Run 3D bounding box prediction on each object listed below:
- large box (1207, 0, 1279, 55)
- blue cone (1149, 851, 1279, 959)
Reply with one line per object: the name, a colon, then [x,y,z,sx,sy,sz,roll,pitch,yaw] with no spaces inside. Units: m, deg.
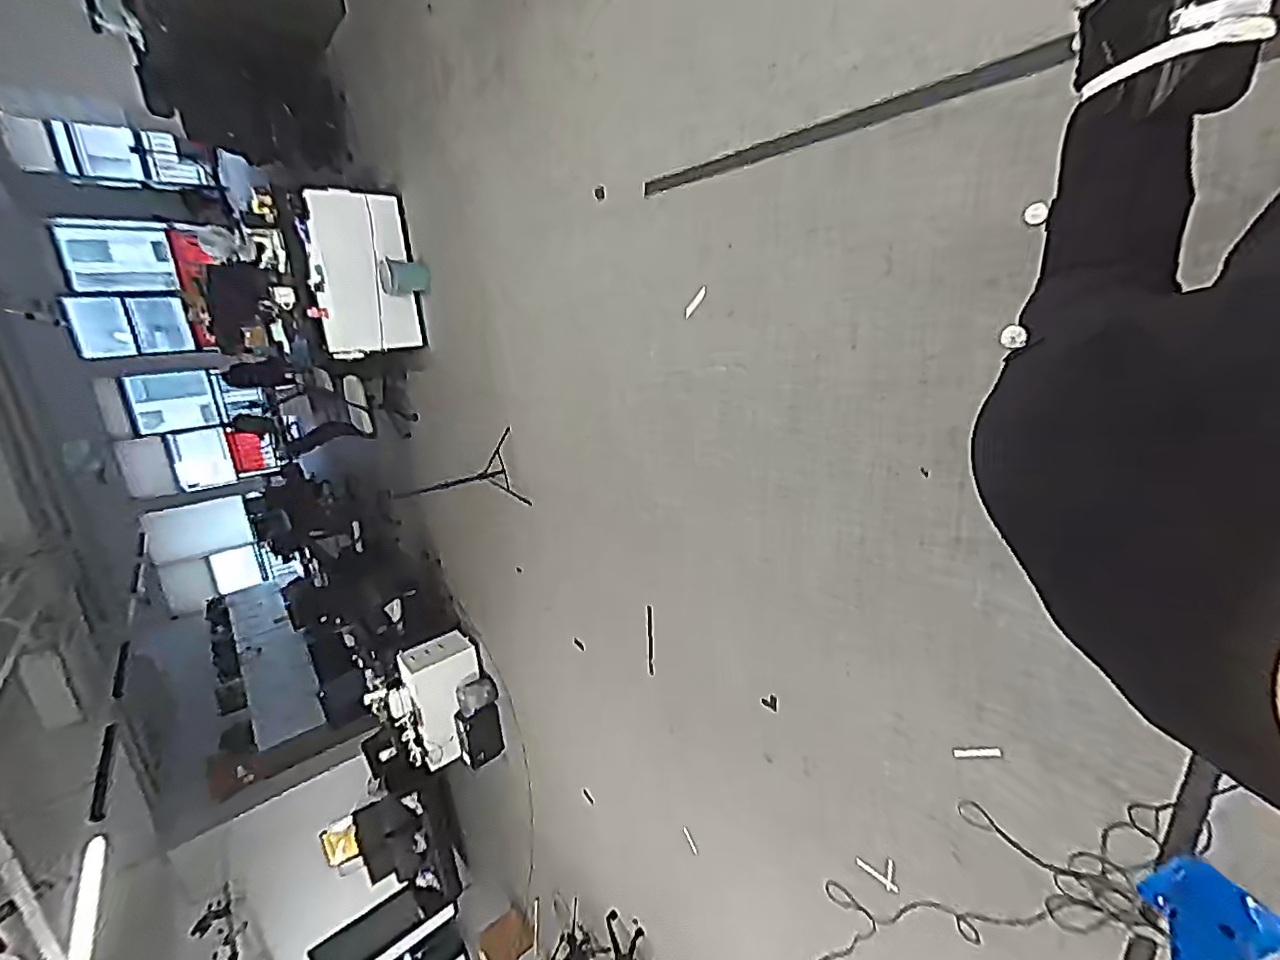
large box: [0.575,-0.479,0.246,0.408,0.320,0.320,13,119,49]
blue cone: [1.171,0.988,1.110,0.193,0.380,0.192,40,132,36]
